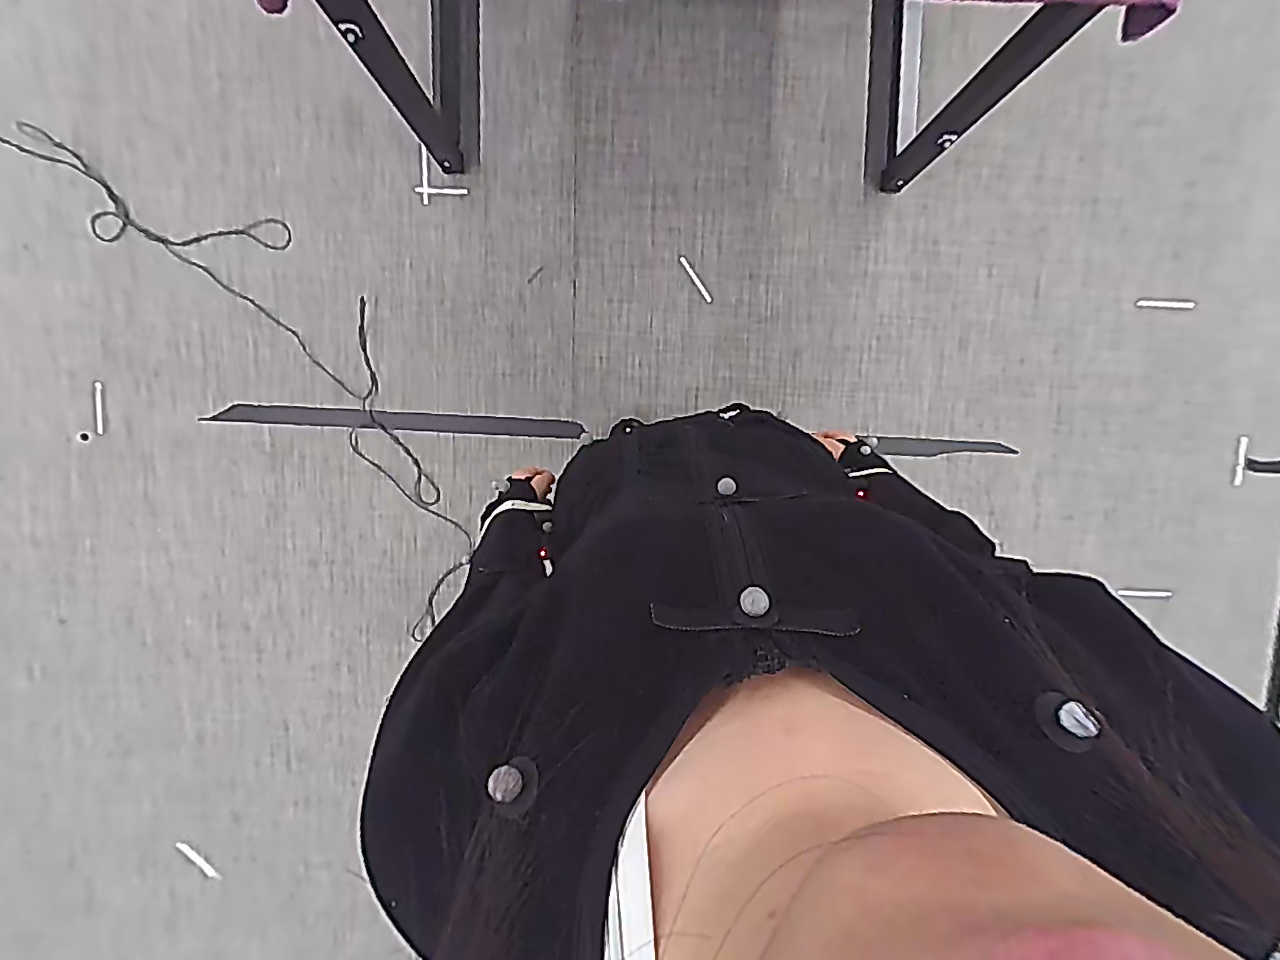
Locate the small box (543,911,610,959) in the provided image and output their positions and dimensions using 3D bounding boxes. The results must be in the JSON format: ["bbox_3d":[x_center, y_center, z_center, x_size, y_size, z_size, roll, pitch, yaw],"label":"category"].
[{"bbox_3d":[-0.171,1.347,1.495,0.168,0.176,0.179,-4,96,-1],"label":"small box"}]
